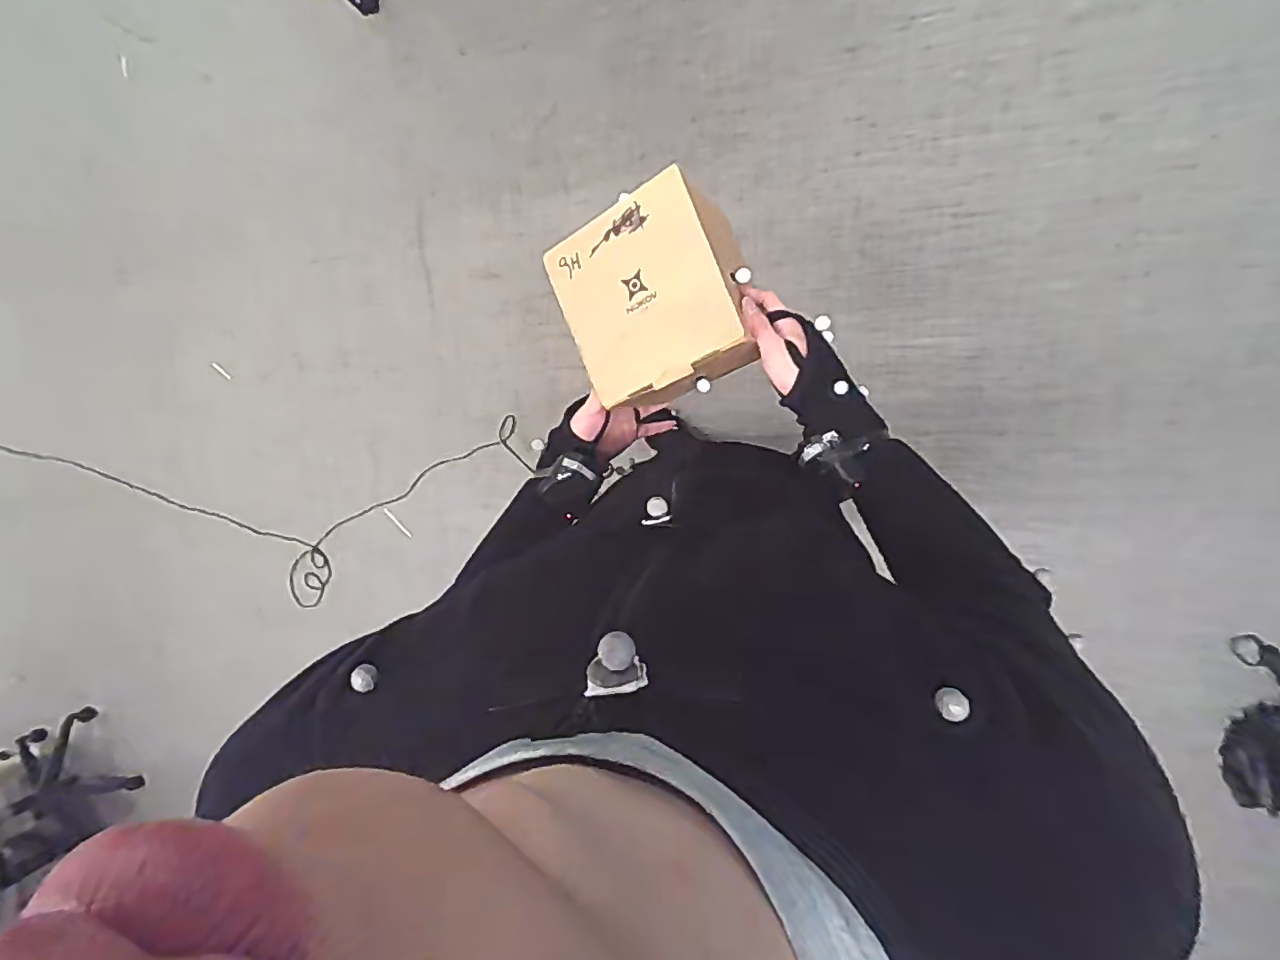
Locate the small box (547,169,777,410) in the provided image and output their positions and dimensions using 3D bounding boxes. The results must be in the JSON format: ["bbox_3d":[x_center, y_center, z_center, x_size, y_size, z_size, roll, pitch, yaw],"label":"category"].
[{"bbox_3d":[0.035,-0.194,0.598,0.168,0.176,0.179,-23,90,27],"label":"small box"}]
